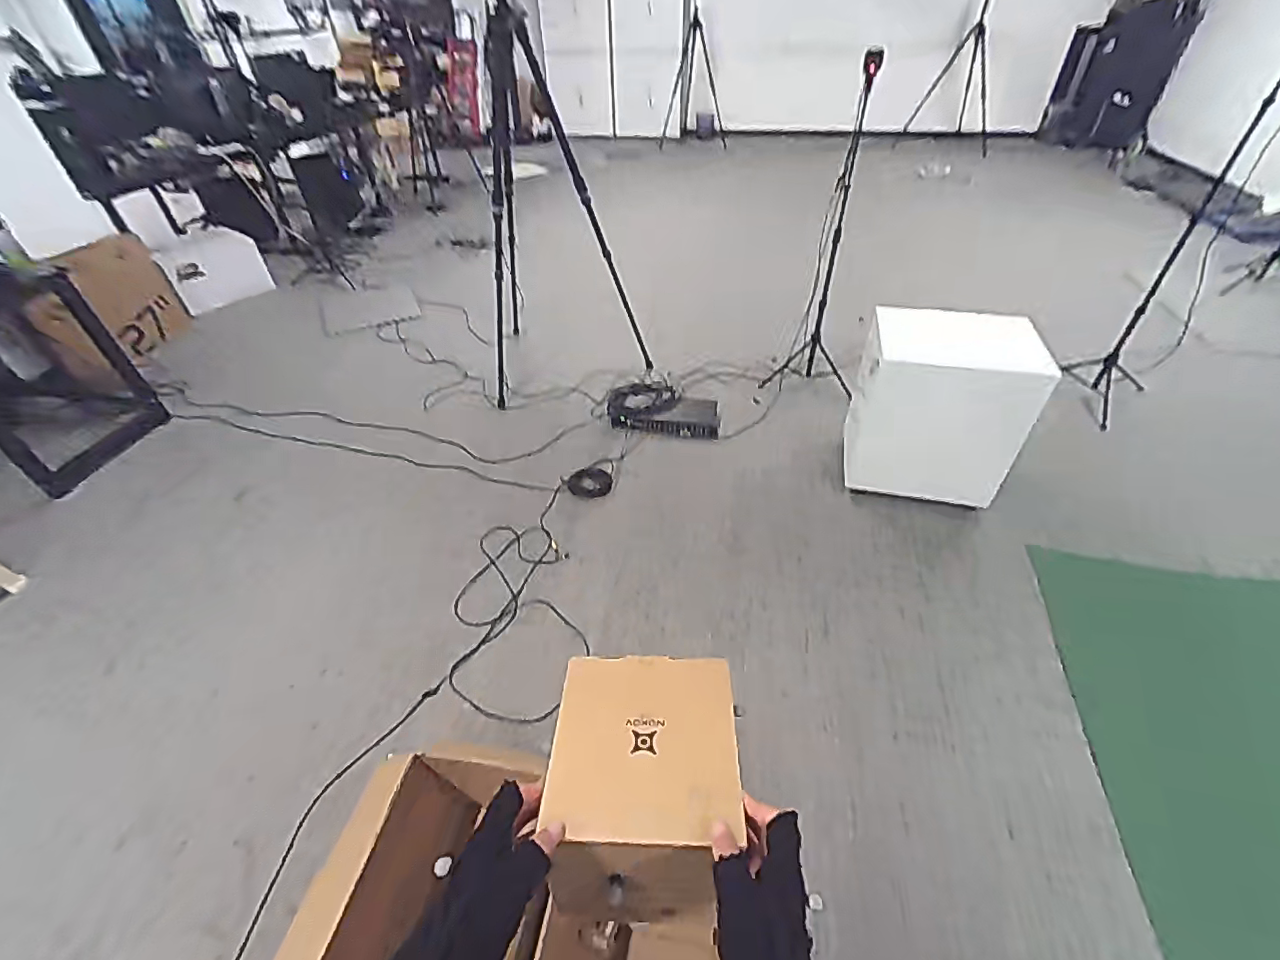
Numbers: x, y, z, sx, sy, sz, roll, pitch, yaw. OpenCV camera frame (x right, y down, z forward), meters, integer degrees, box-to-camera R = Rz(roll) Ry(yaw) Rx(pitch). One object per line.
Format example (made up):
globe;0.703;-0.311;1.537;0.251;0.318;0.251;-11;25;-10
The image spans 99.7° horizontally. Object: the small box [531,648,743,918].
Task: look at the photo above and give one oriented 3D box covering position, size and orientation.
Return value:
small box;0.004;0.286;0.518;0.168;0.176;0.179;0;33;3
